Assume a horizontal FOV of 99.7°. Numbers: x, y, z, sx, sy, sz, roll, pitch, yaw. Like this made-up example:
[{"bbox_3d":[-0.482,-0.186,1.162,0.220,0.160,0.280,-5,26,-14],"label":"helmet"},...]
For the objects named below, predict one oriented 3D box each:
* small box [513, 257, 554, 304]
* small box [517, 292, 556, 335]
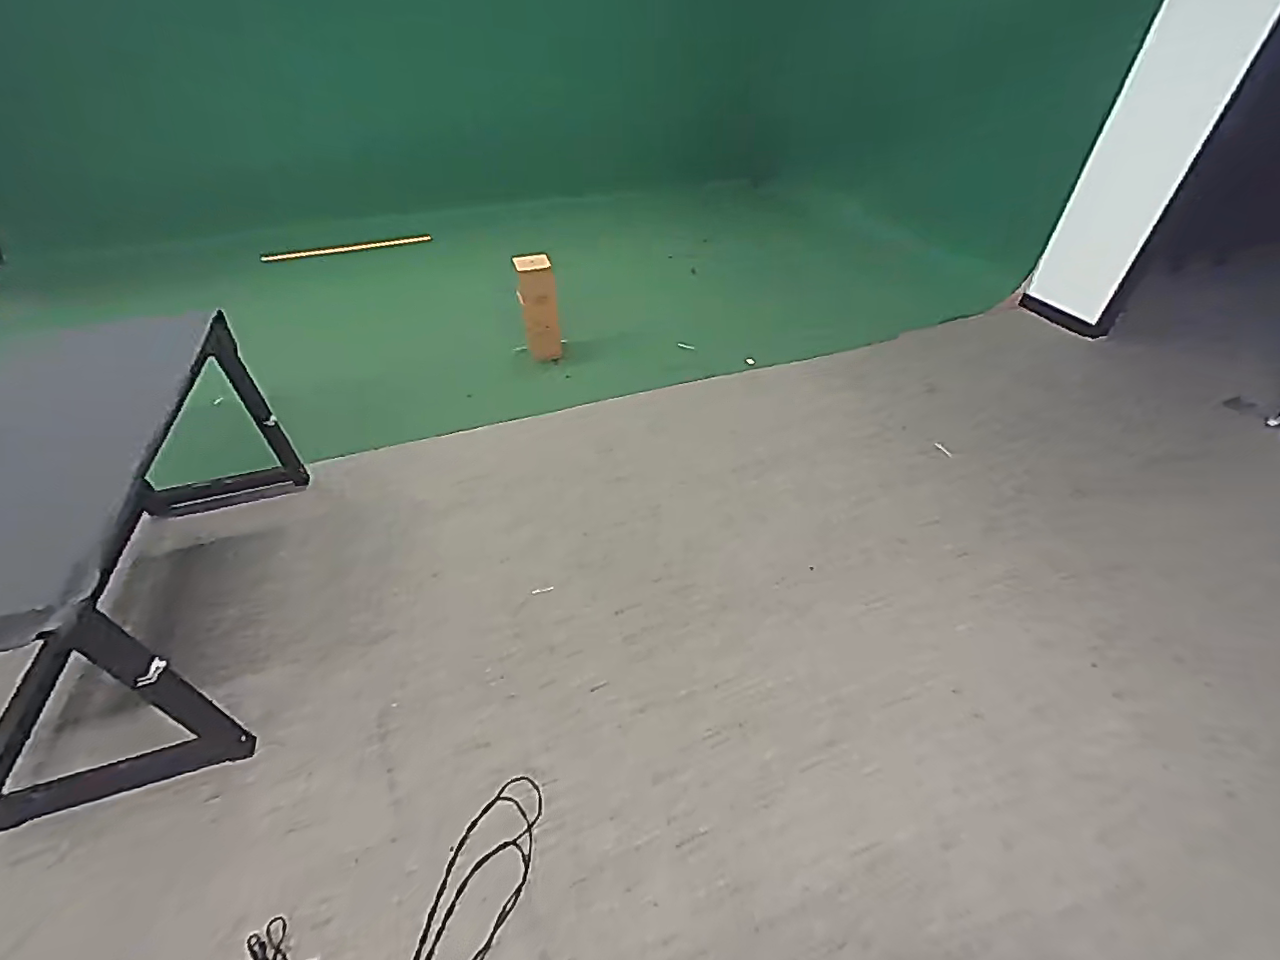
[{"bbox_3d":[-0.534,-1.000,2.707,0.168,0.176,0.179,-13,44,-14],"label":"small box"},{"bbox_3d":[-0.539,-0.872,2.812,0.168,0.176,0.179,-13,44,-15],"label":"small box"}]
